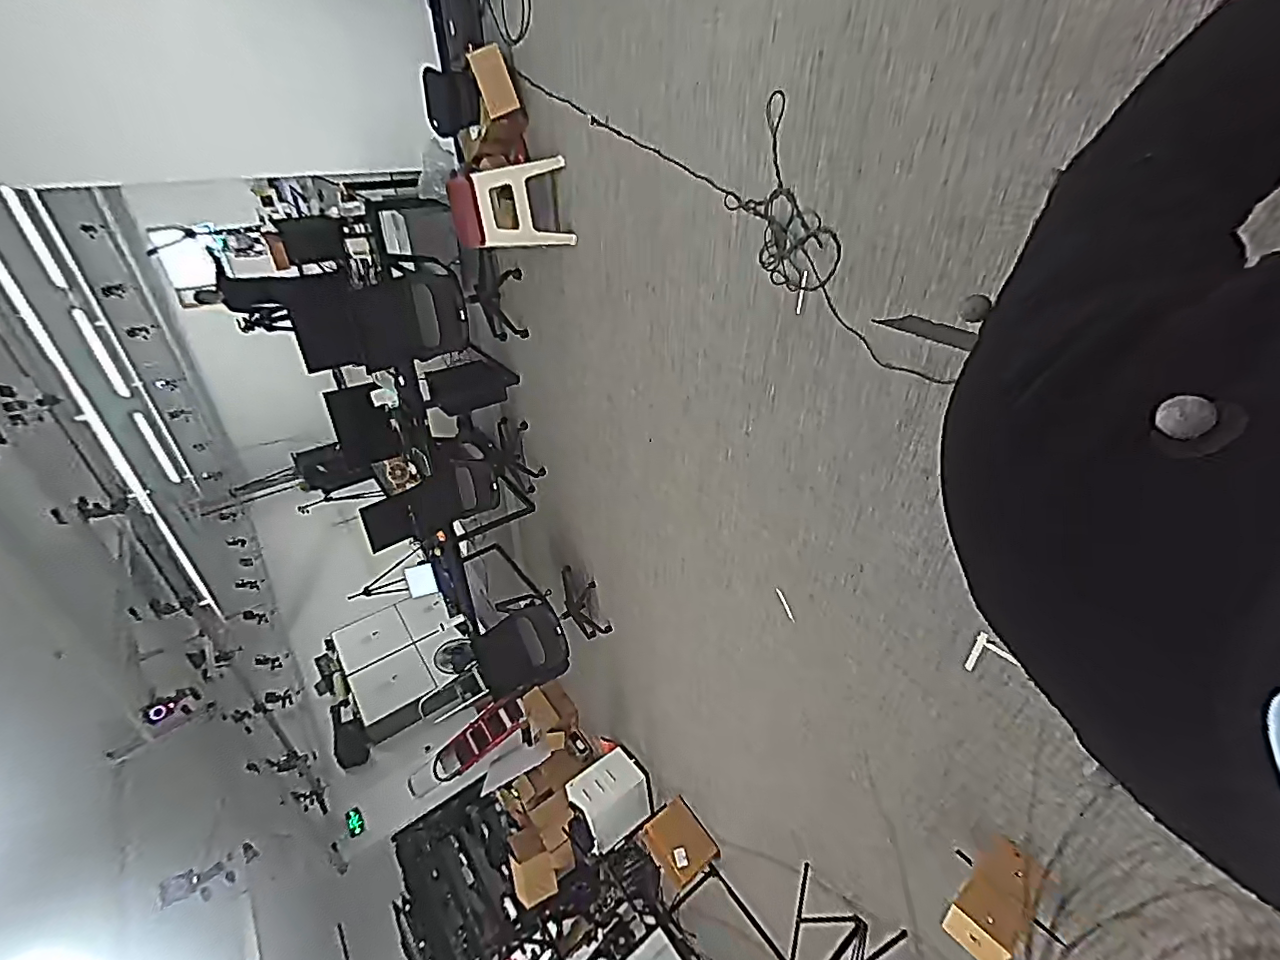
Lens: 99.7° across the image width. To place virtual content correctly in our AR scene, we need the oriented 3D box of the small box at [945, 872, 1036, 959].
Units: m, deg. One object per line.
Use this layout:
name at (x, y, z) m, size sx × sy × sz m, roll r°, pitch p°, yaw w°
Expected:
small box at (1.128, 1.416, 1.745) m, size 0.179 × 0.176 × 0.168 m, roll 30°, pitch 134°, yaw 44°

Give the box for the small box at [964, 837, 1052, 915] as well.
small box at (1.253, 1.365, 1.836) m, size 0.168 × 0.176 × 0.179 m, roll 39°, pitch 141°, yaw 38°
